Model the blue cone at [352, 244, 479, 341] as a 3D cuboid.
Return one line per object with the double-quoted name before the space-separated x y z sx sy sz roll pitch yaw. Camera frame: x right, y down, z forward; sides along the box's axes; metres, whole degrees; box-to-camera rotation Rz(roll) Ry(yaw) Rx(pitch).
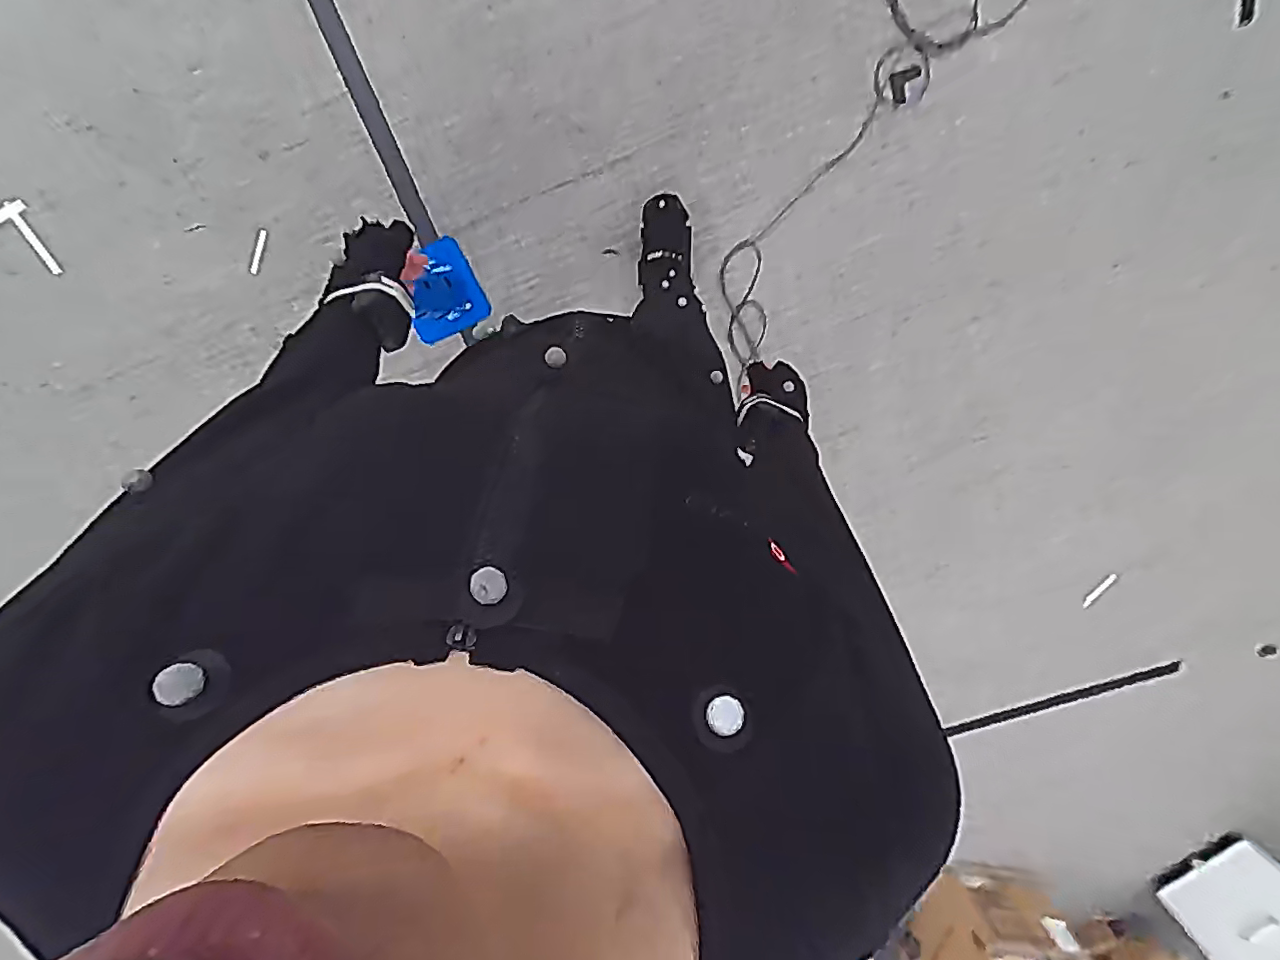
"blue cone" -0.501 -0.393 1.157 0.192 0.380 0.193 -22 110 8
